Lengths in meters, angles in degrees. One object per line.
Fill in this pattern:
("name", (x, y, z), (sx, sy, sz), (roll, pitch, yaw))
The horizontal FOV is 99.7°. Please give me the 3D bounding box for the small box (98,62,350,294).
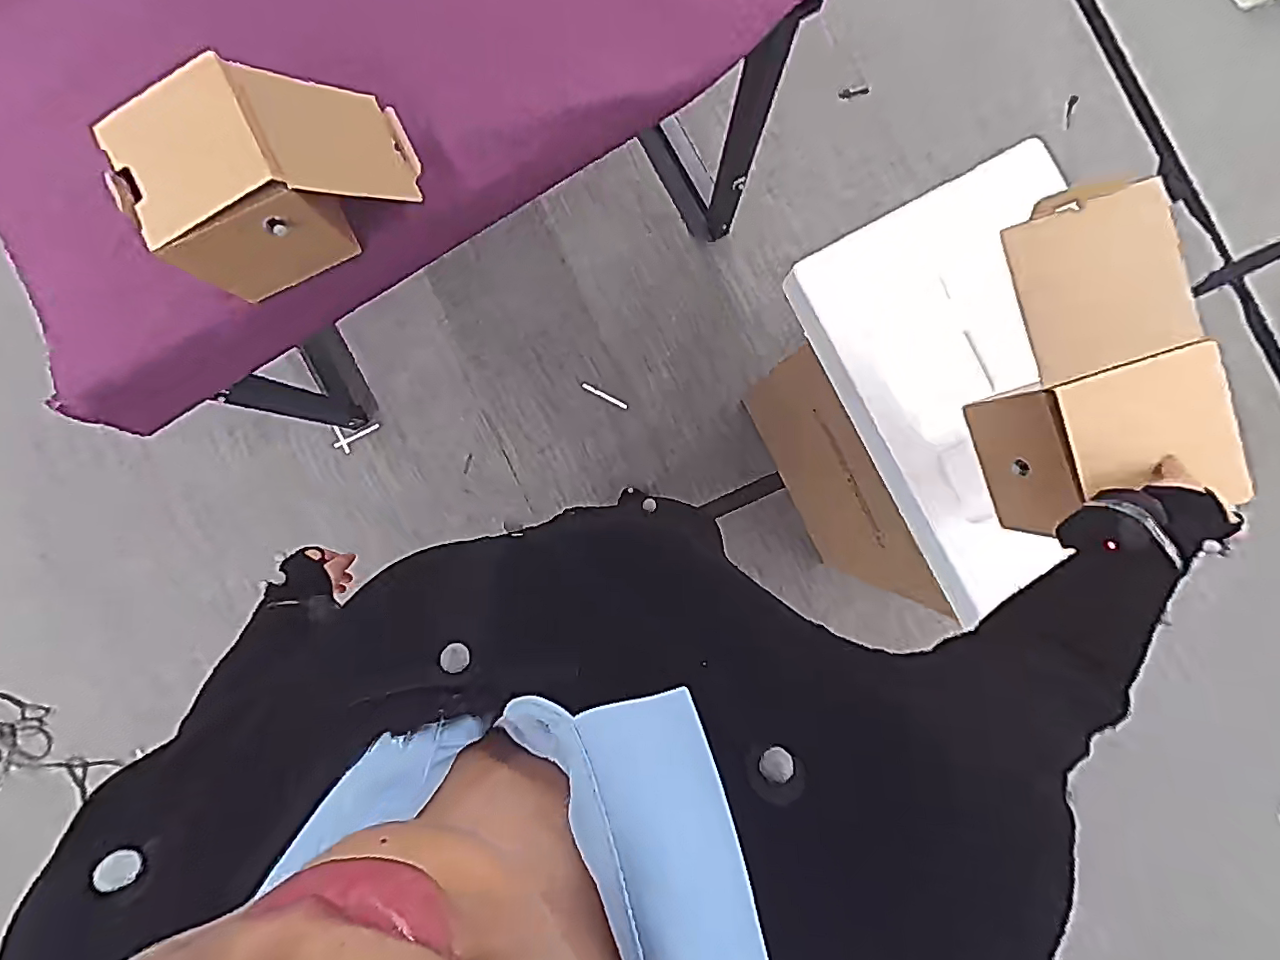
("small box", (-0.510, -0.372, 0.698), (0.179, 0.176, 0.168), (-25, 88, 0))
